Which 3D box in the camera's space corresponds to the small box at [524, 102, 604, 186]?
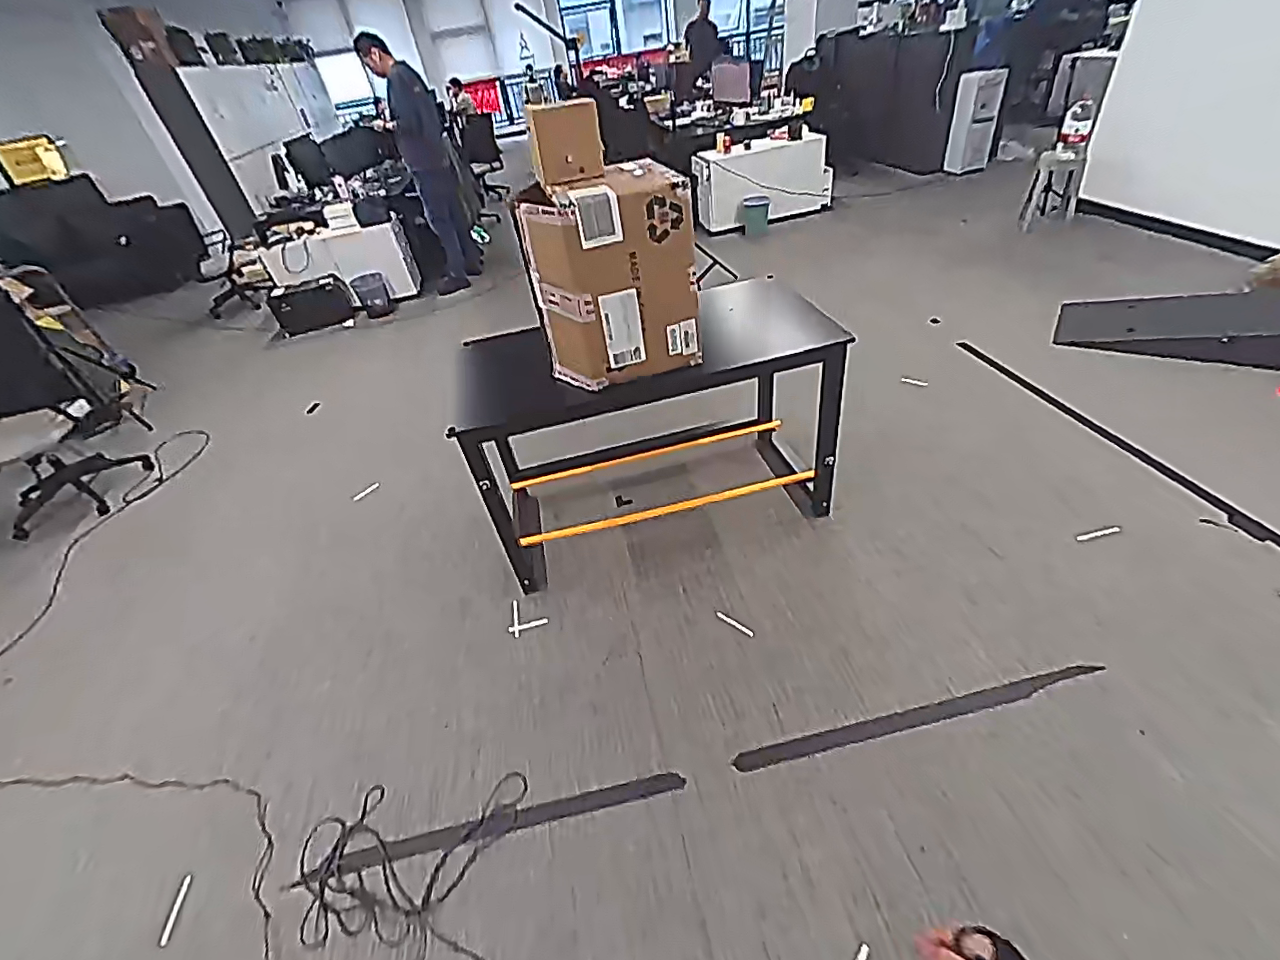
[{"bbox_3d":[-0.202,-0.897,1.445,0.168,0.176,0.179,-16,38,-9],"label":"small box"}]
